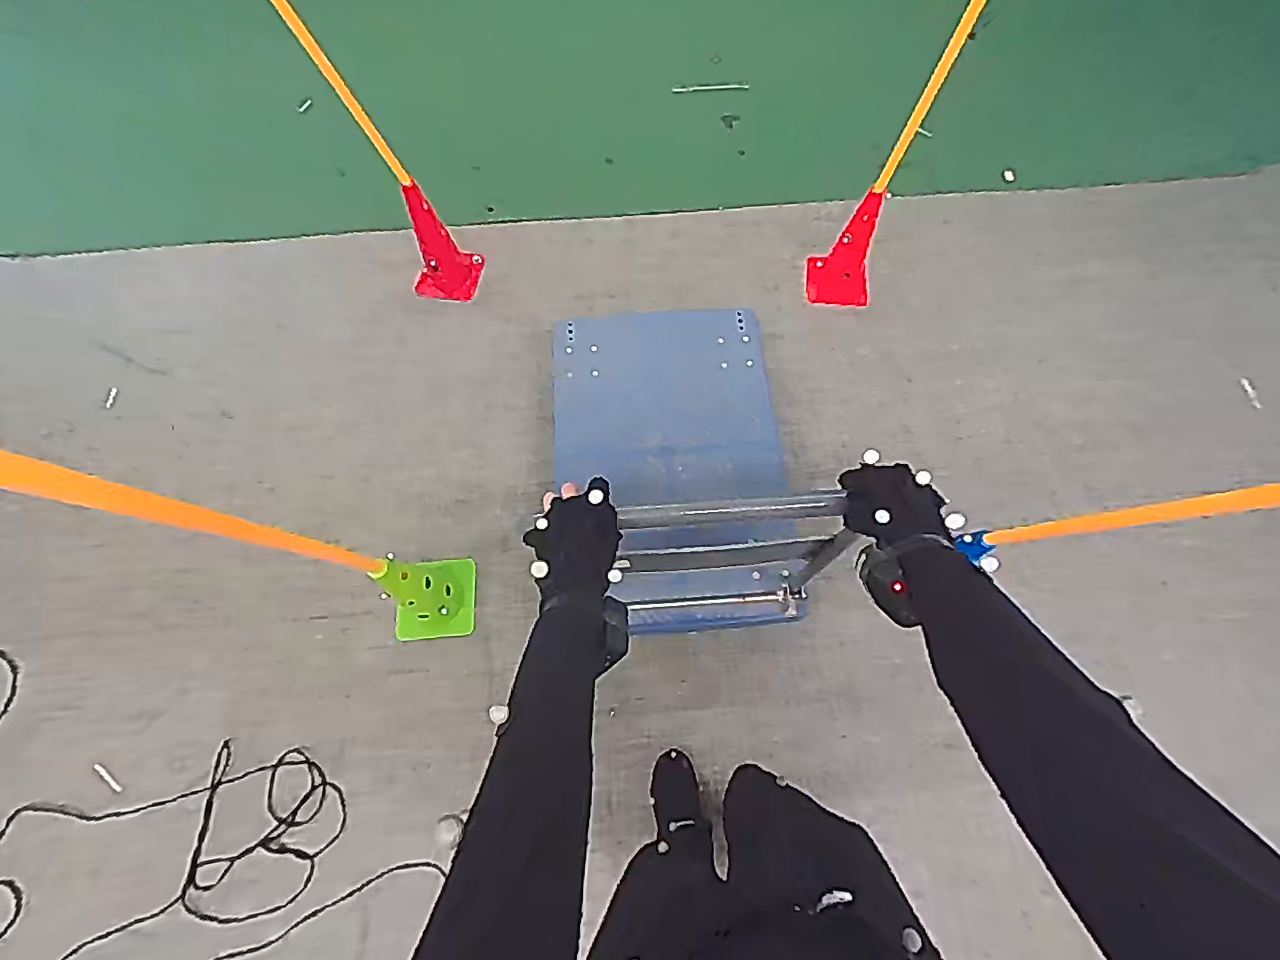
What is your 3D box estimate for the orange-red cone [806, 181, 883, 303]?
[{"bbox_3d":[0.645,-0.731,1.624,0.198,0.360,0.199,6,70,4],"label":"orange-red cone"}]
